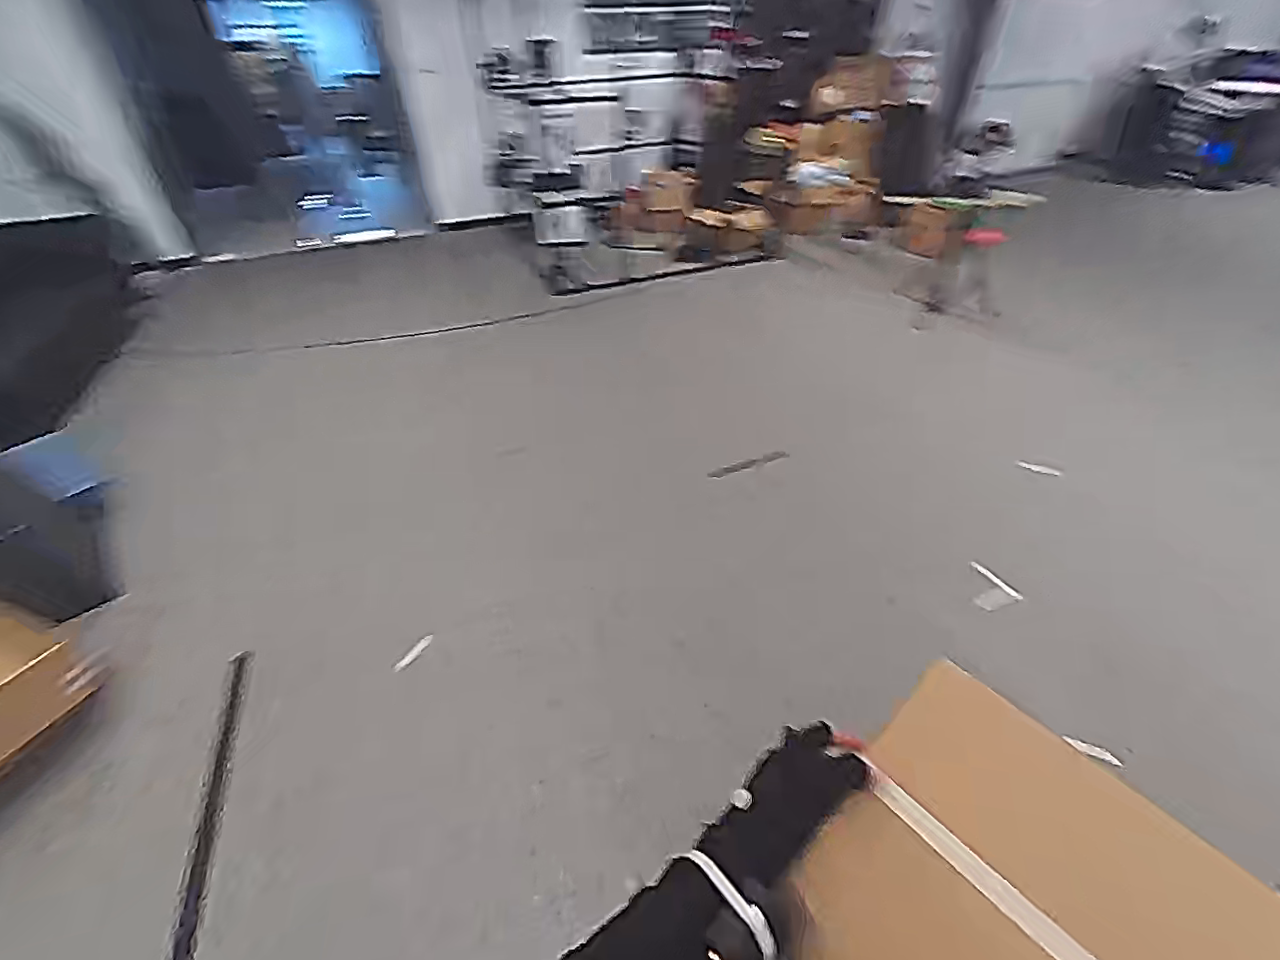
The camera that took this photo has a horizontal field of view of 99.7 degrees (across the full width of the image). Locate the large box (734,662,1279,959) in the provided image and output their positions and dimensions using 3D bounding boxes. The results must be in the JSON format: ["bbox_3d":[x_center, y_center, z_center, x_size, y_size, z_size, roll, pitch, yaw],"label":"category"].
[{"bbox_3d":[0.350,0.473,0.529,0.320,0.320,0.408,-37,55,-23],"label":"large box"}]
